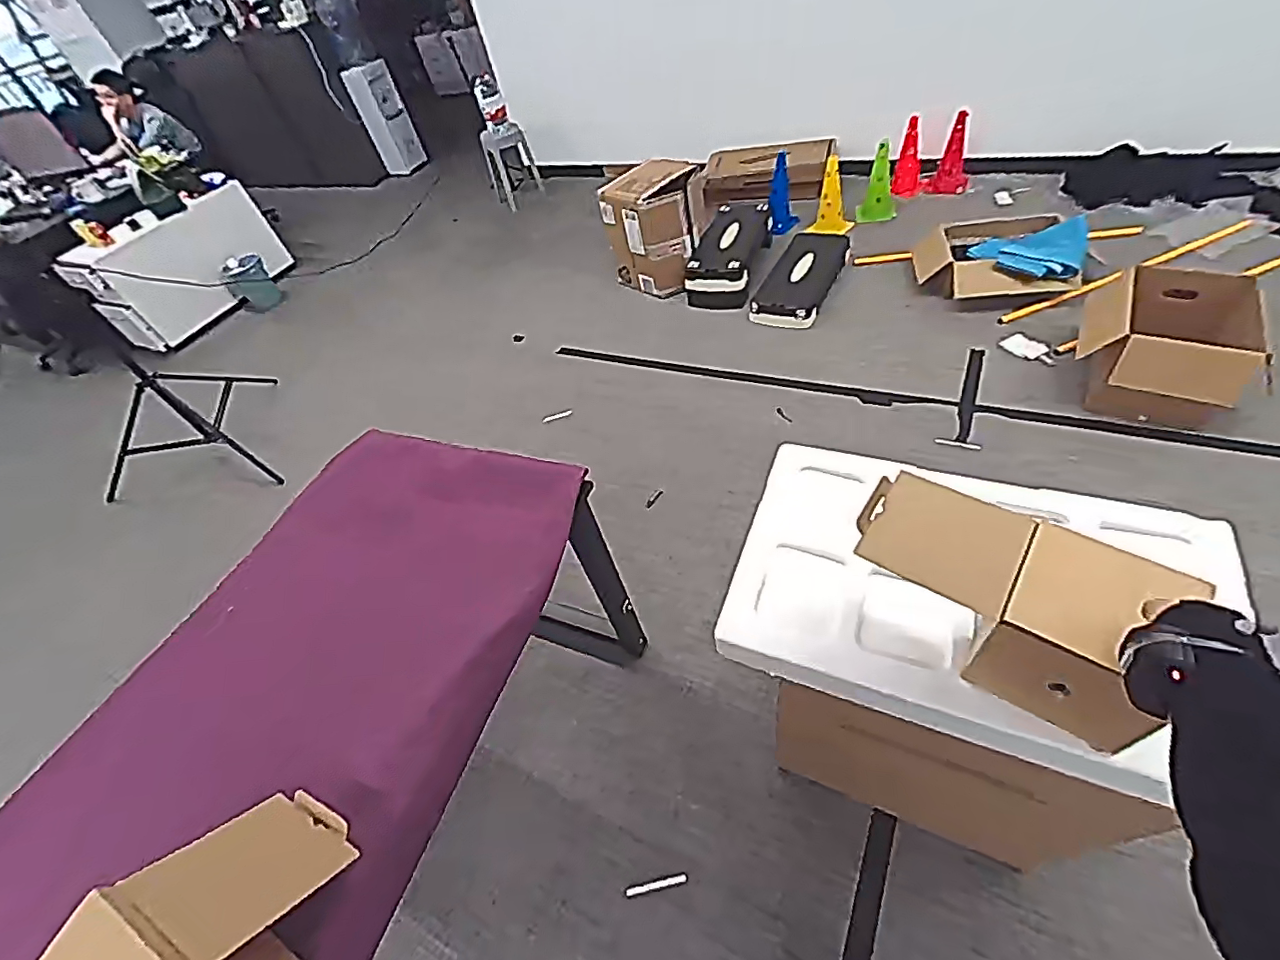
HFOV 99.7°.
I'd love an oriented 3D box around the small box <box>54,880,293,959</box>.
[{"bbox_3d":[-0.504,0.559,0.559,0.168,0.176,0.179,14,55,25],"label":"small box"}]
